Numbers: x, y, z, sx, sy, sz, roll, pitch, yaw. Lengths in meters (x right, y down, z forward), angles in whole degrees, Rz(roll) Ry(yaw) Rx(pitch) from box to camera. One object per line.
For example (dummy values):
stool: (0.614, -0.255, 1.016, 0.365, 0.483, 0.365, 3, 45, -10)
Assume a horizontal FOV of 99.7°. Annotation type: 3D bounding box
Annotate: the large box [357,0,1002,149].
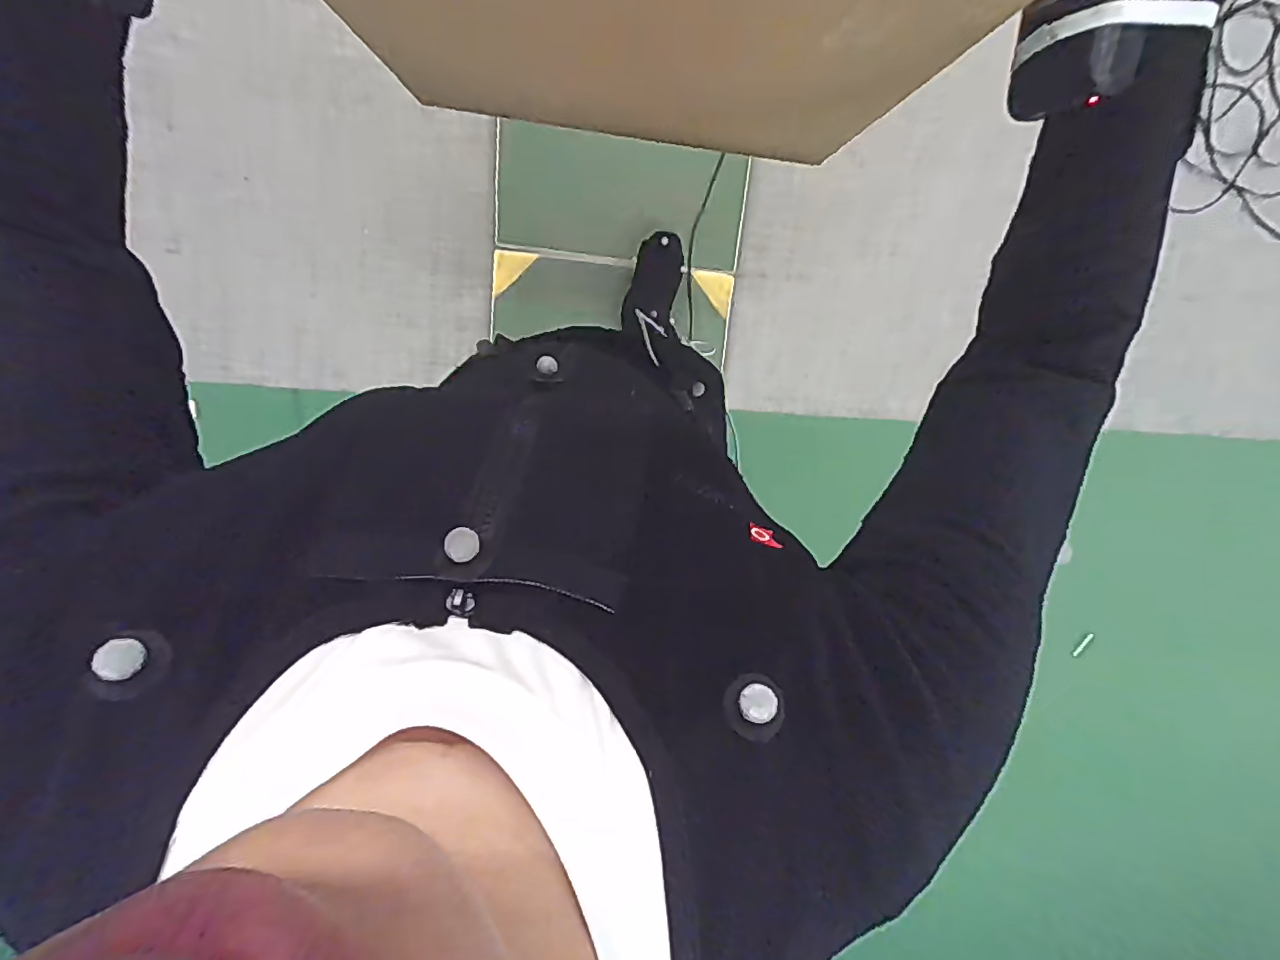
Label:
large box: (0.016, -0.455, 0.354, 0.408, 0.320, 0.320, 5, 107, -5)
